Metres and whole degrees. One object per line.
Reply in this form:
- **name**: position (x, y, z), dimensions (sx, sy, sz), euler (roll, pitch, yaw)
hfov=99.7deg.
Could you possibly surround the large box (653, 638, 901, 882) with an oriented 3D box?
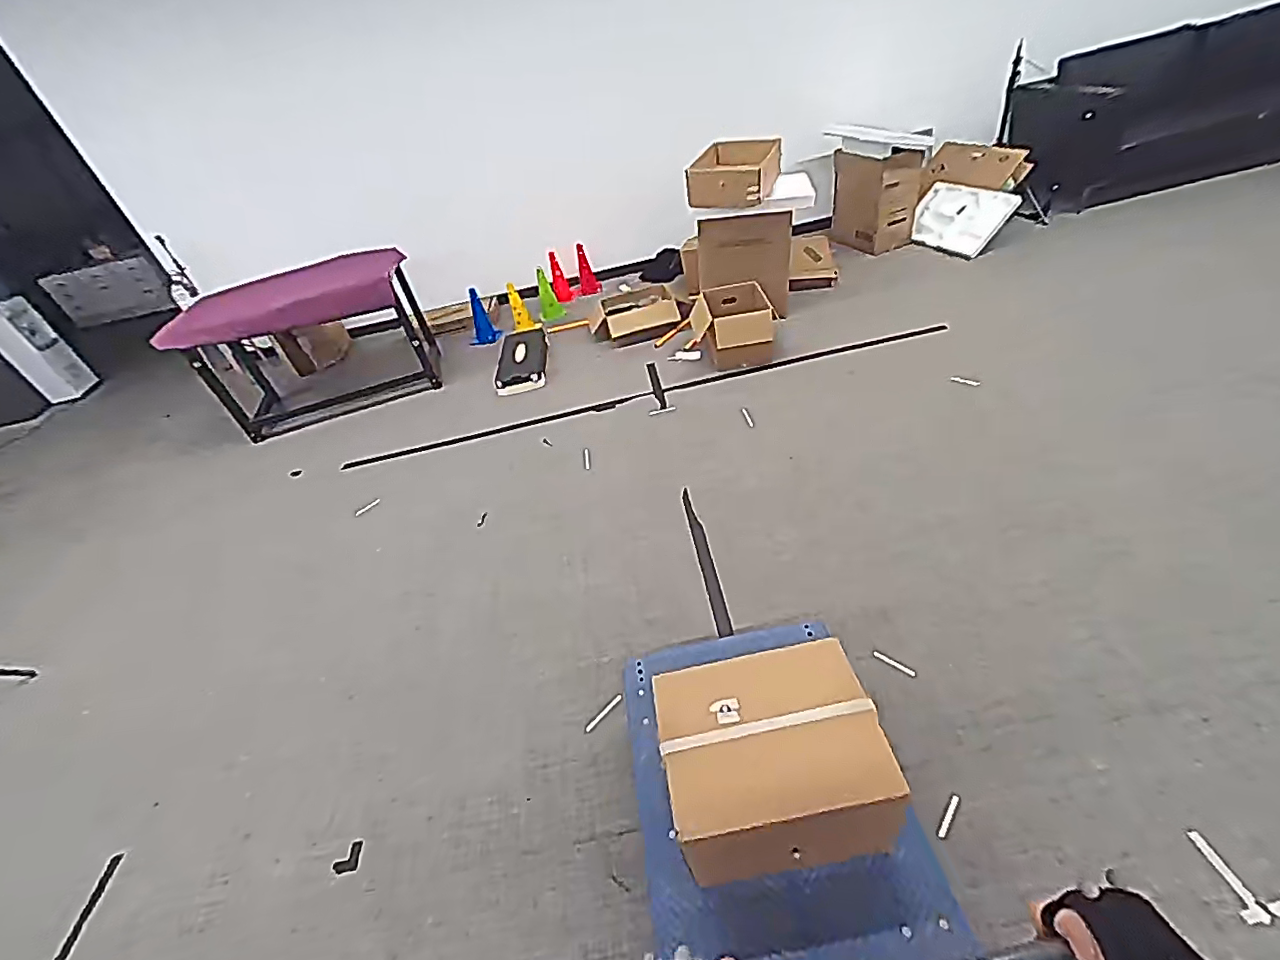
- **large box**: position (0.269, 0.591, 1.142), dimensions (0.408, 0.320, 0.320), euler (-14, 39, 2)
